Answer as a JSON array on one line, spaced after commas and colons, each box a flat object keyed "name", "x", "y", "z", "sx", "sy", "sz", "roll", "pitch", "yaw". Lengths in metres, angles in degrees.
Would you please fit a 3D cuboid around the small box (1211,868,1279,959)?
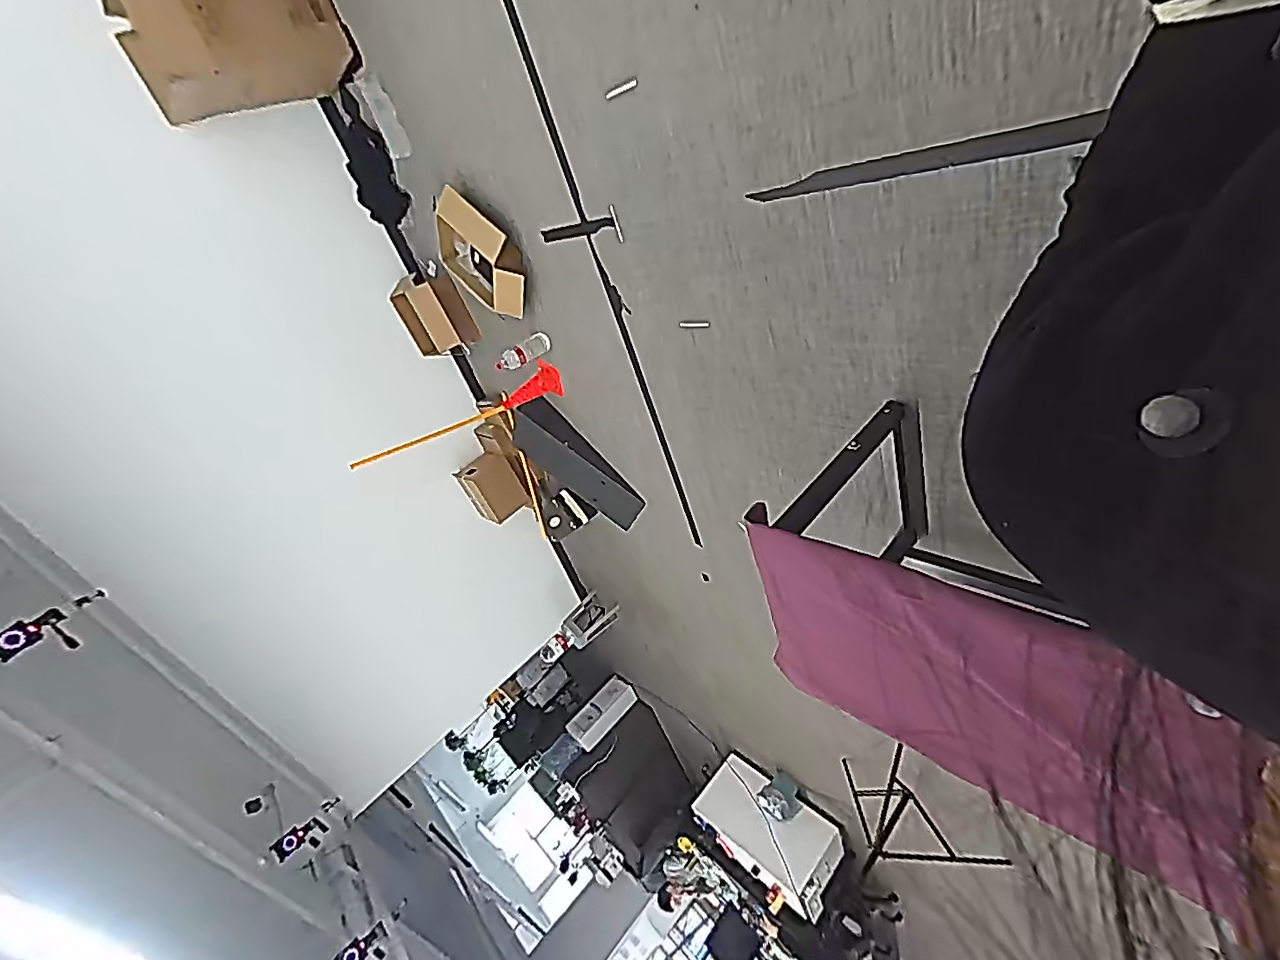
[{"name": "small box", "x": 0.801, "y": 0.601, "z": 0.632, "sx": 0.179, "sy": 0.176, "sz": 0.168, "roll": 12, "pitch": 136, "yaw": 48}]

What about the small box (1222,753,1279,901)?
[{"name": "small box", "x": 0.910, "y": 0.508, "z": 0.708, "sx": 0.168, "sy": 0.176, "sz": 0.179, "roll": 14, "pitch": 135, "yaw": 48}]
